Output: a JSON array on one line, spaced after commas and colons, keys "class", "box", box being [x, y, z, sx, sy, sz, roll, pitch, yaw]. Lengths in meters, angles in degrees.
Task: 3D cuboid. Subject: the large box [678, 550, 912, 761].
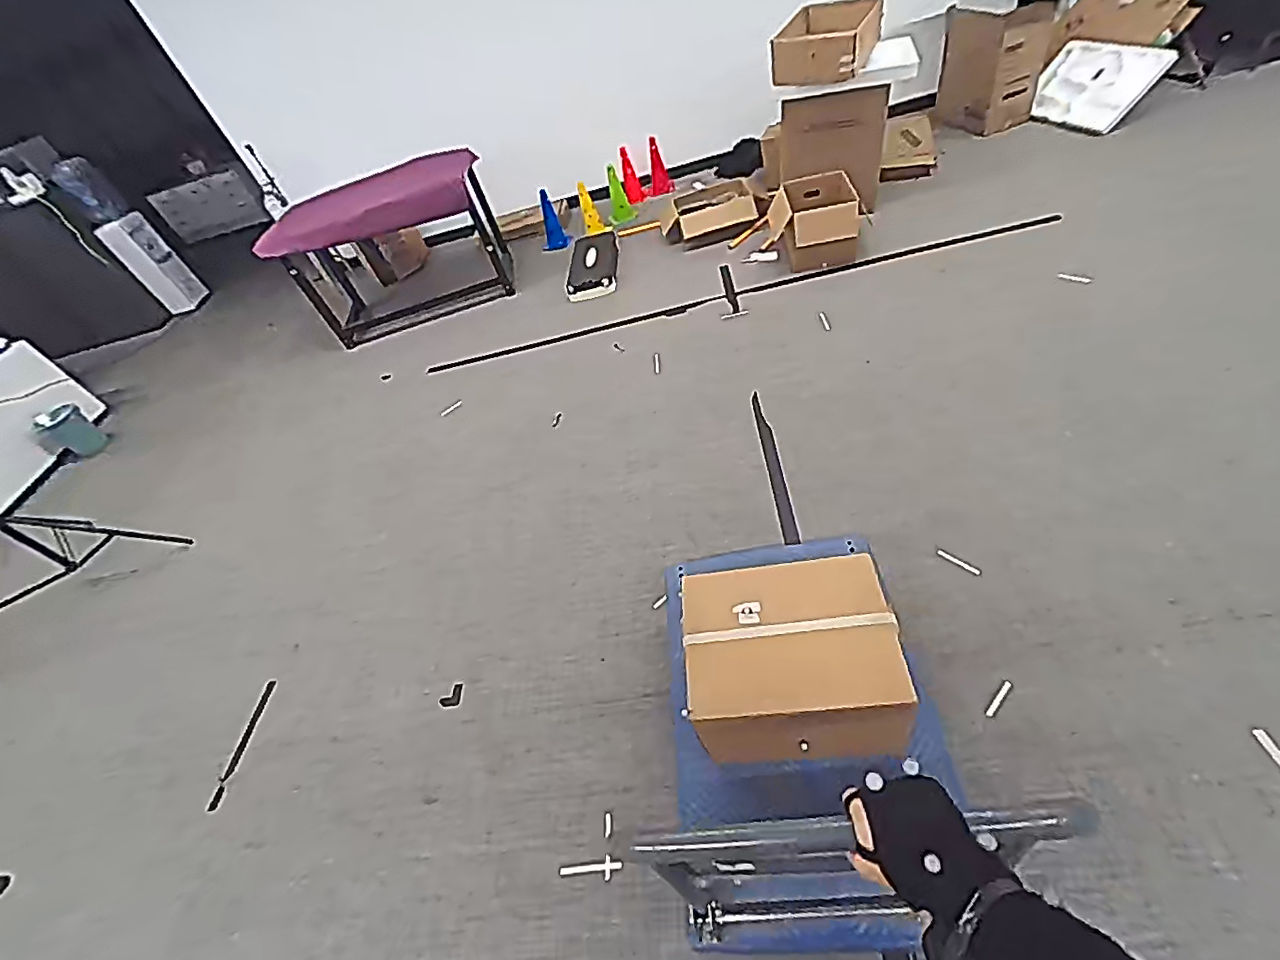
[{"class": "large box", "box": [0.318, 0.389, 1.168, 0.408, 0.320, 0.320, -11, 45, 12]}]
